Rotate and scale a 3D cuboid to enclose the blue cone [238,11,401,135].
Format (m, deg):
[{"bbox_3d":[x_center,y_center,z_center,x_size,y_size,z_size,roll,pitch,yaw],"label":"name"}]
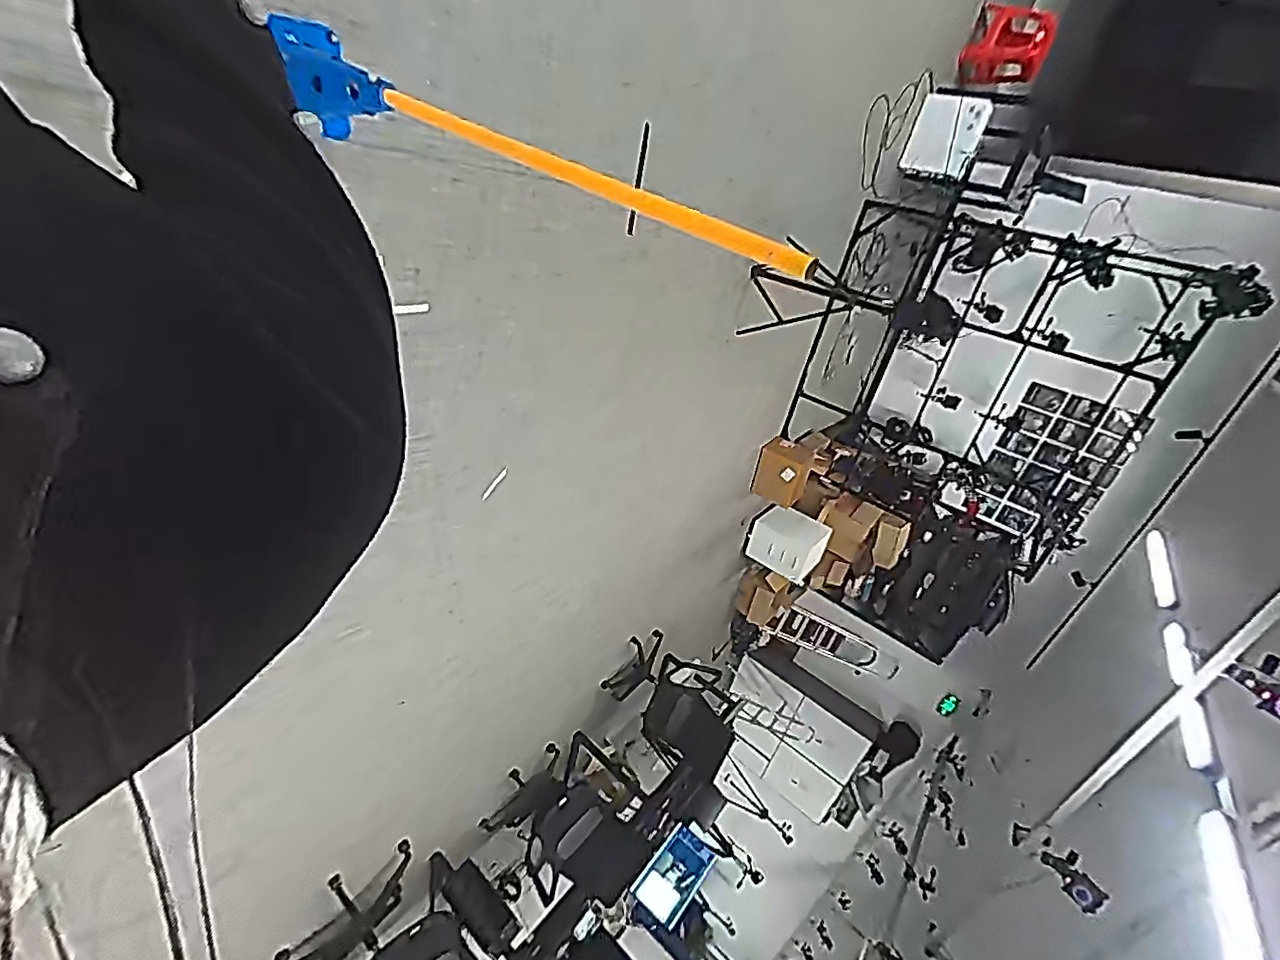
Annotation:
[{"bbox_3d":[-0.572,-0.755,1.029,0.193,0.380,0.192,-28,137,-45],"label":"blue cone"}]
